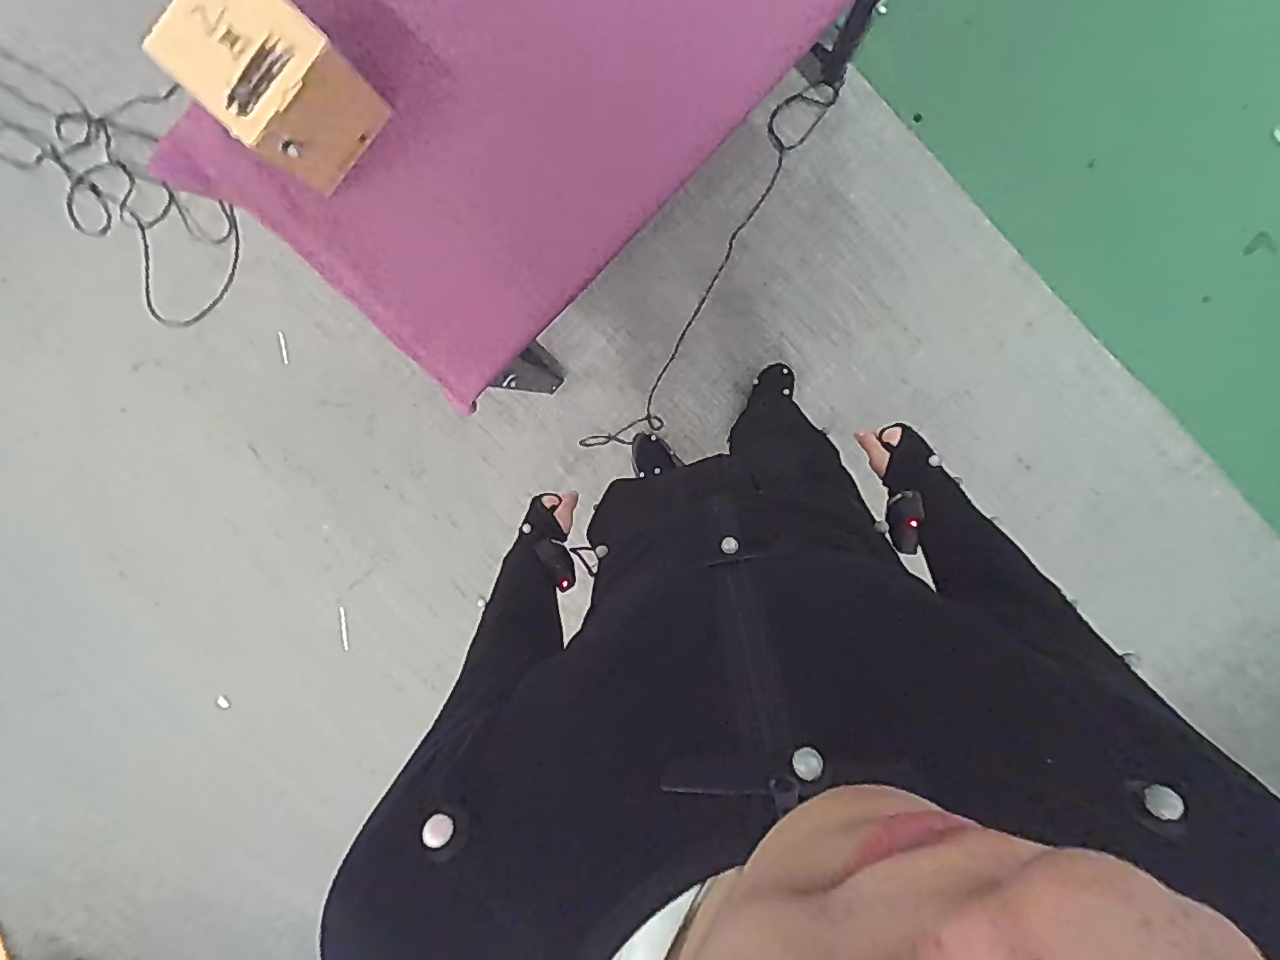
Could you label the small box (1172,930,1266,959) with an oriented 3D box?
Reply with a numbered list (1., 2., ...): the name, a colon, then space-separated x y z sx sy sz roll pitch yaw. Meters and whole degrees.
1. small box: 1.380 1.183 1.216 0.168 0.176 0.179 -34 95 6
